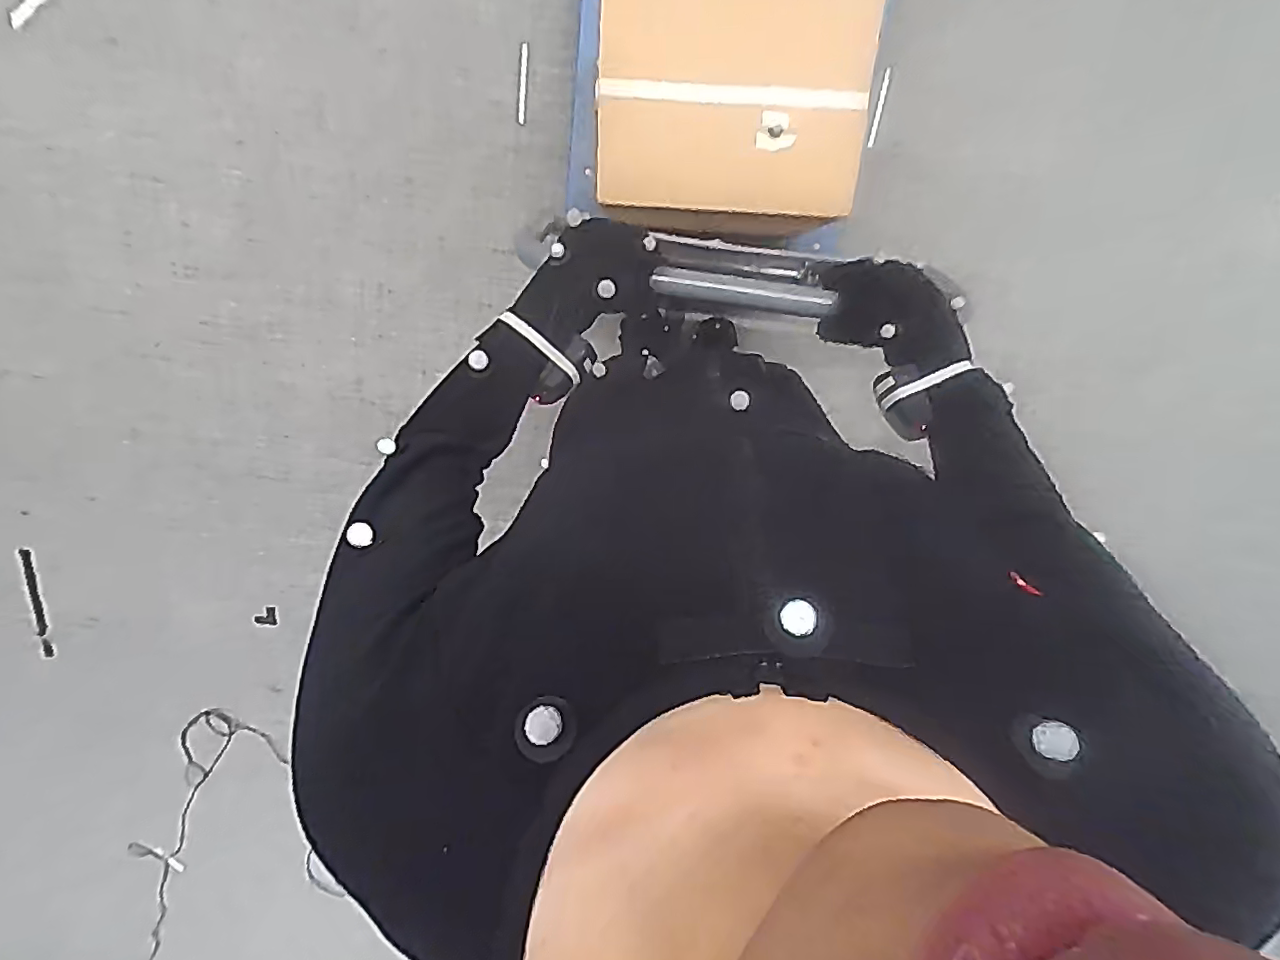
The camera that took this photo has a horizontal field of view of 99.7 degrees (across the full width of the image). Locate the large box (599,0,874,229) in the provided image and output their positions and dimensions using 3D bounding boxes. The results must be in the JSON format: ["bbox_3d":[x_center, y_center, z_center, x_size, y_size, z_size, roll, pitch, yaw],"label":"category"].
[{"bbox_3d":[0.134,-0.636,0.960,0.408,0.320,0.320,2,110,-1],"label":"large box"}]
